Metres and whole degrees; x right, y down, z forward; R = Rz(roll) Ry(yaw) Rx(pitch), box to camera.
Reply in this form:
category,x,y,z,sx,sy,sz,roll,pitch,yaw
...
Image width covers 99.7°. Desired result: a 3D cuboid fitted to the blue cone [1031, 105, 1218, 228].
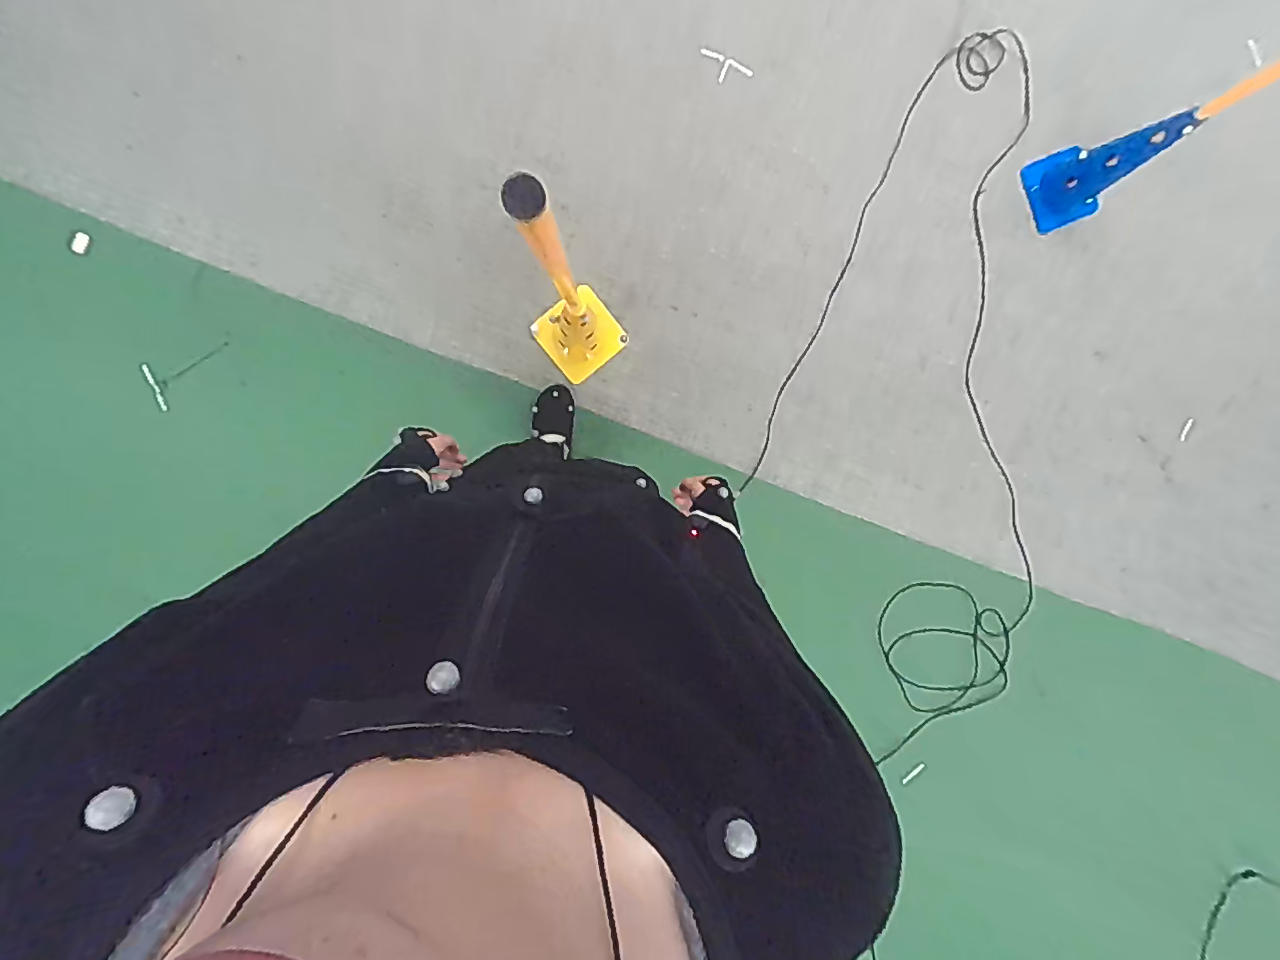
category,x,y,z,sx,sy,sz,roll,pitch,yaw
blue cone,1.225,-0.823,1.366,0.193,0.380,0.192,-25,96,-5
